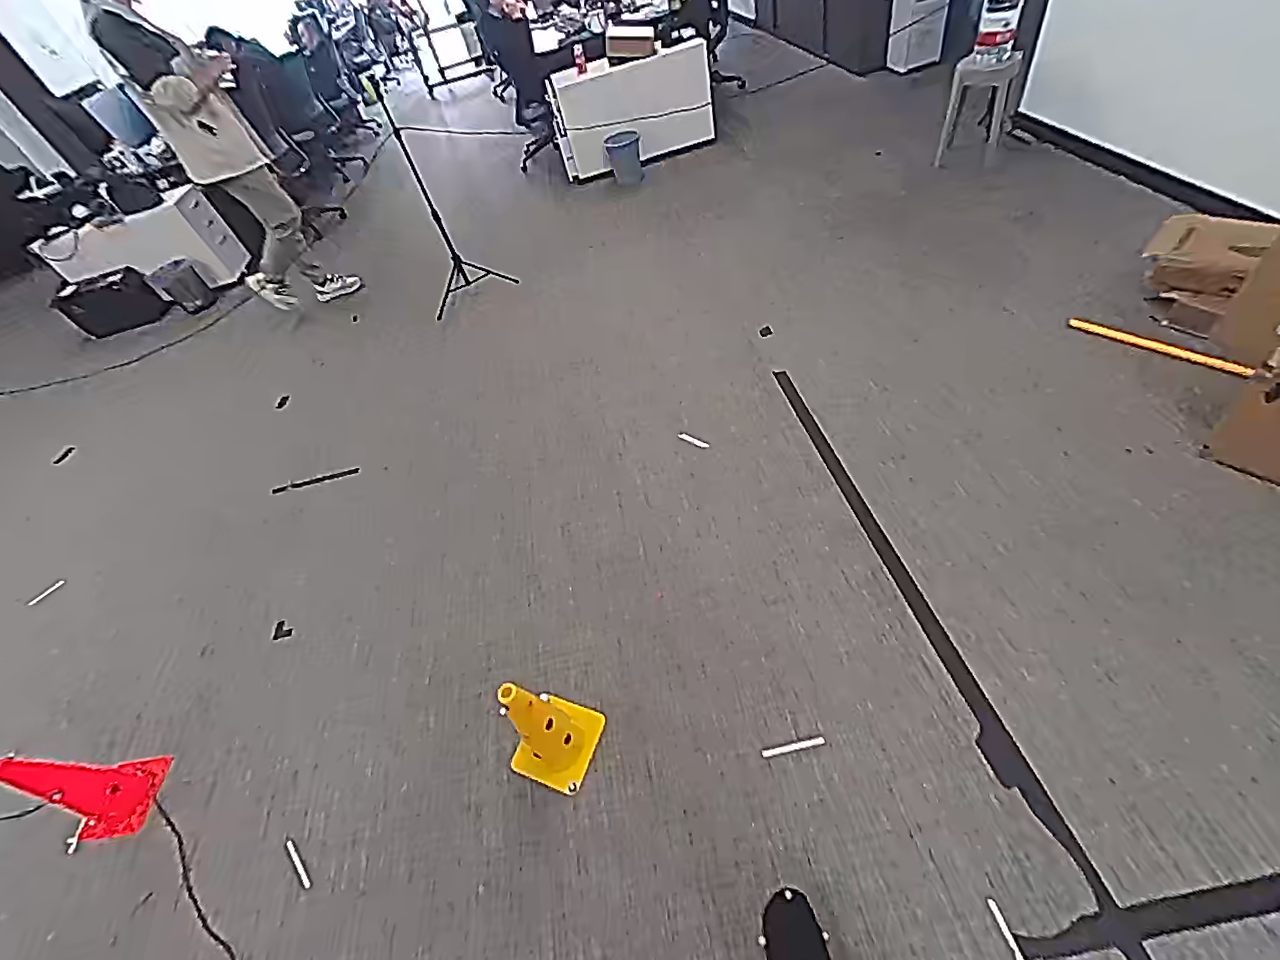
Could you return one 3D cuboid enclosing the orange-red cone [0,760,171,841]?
[{"bbox_3d":[-1.510,0.812,1.431,0.199,0.360,0.198,-9,49,6],"label":"orange-red cone"}]
